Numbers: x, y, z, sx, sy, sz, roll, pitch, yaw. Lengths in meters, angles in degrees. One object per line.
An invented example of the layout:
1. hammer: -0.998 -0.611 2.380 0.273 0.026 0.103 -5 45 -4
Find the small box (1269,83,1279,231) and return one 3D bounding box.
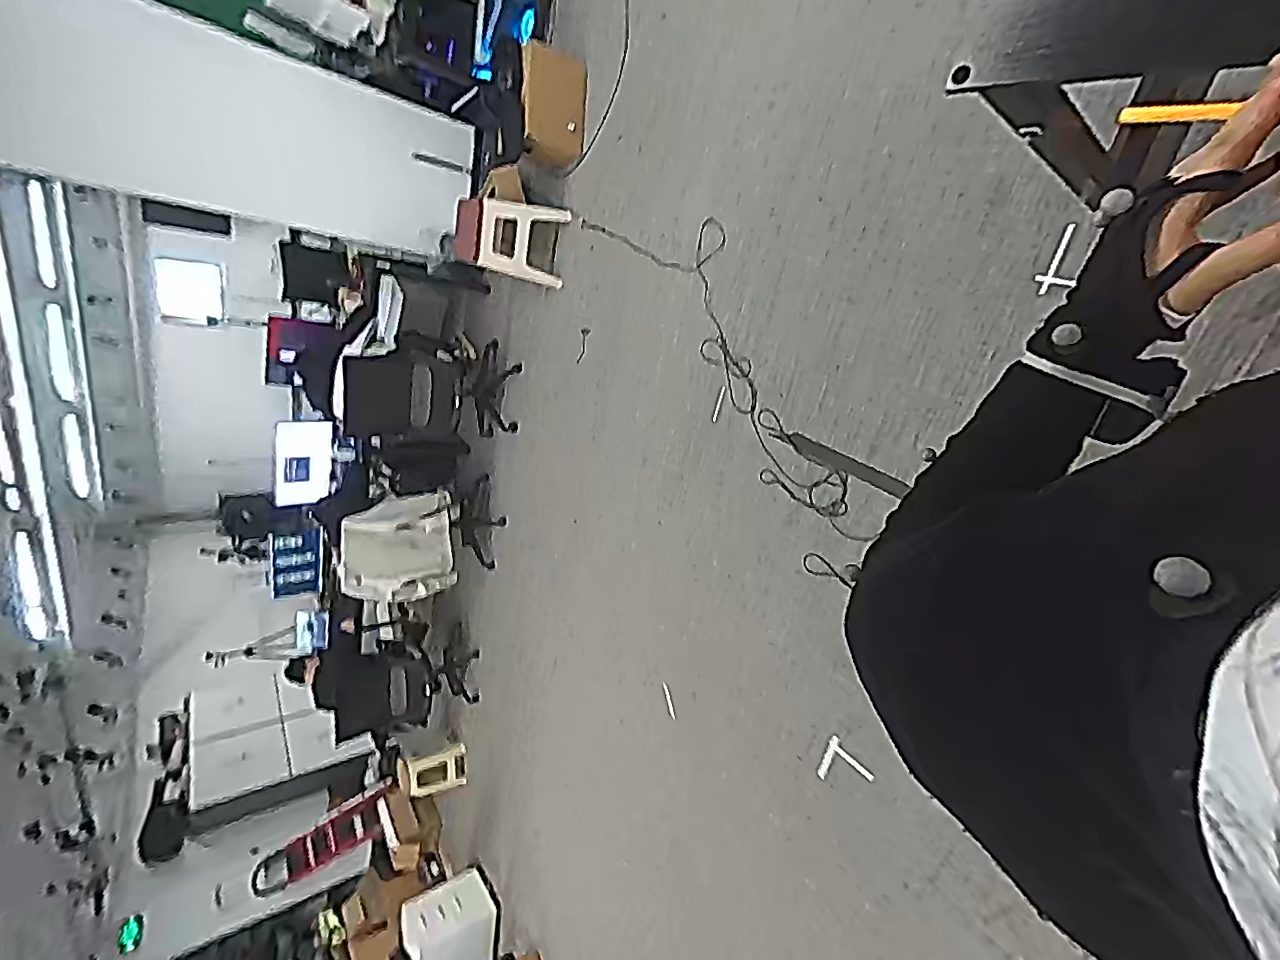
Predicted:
1. small box: 0.443 -0.221 0.255 0.179 0.176 0.168 7 98 50
